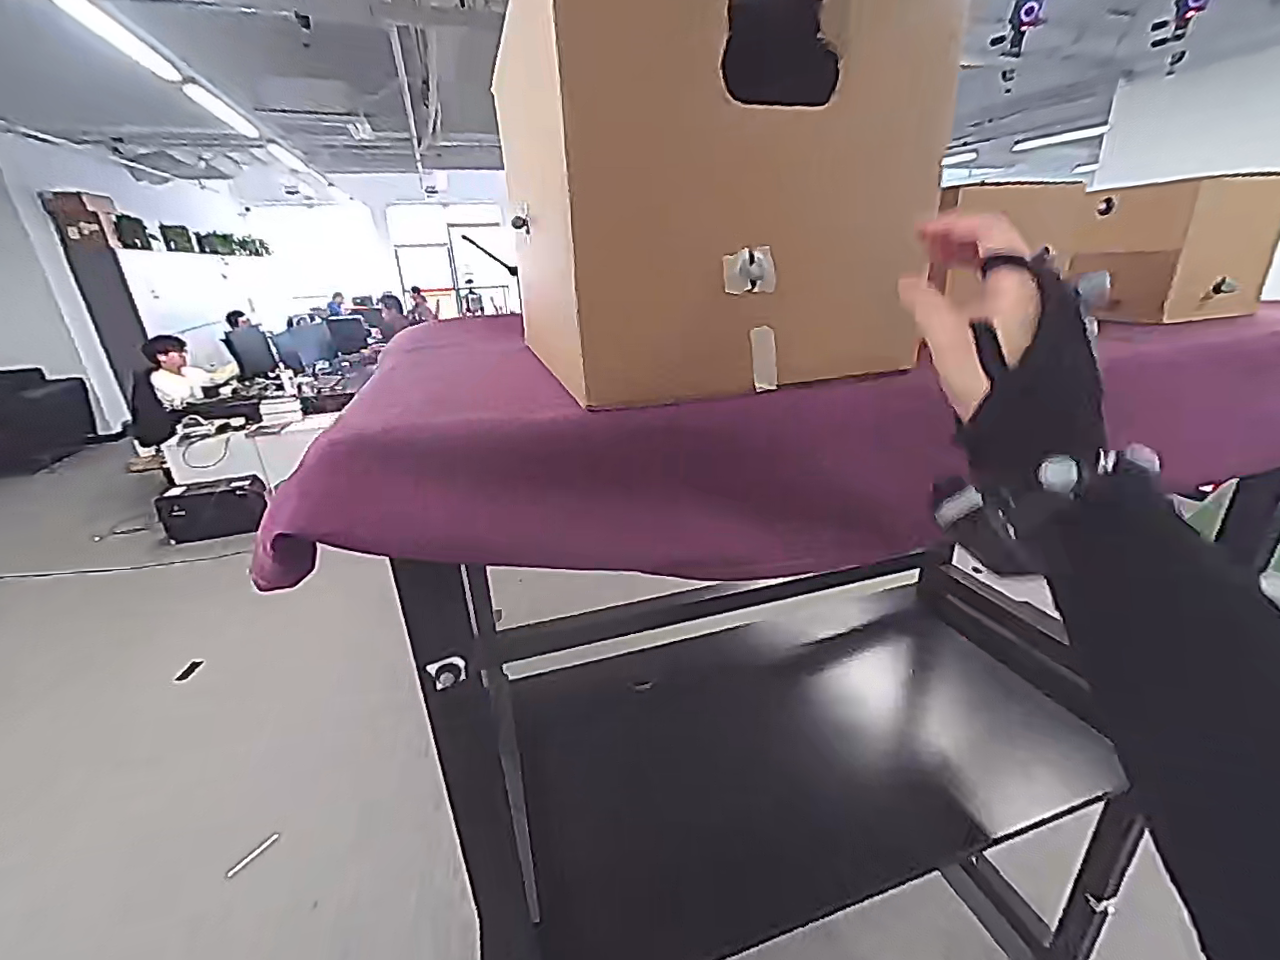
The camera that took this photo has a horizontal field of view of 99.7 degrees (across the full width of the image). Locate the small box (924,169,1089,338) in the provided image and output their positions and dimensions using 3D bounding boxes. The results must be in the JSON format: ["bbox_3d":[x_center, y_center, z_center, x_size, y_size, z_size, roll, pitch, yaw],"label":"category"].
[{"bbox_3d":[0.393,-0.277,0.673,0.179,0.176,0.168,-9,22,-13],"label":"small box"}]

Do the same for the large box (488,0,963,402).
[{"bbox_3d":[0.038,-0.283,0.559,0.320,0.320,0.408,-9,22,-16],"label":"large box"}]

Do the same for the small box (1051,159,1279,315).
[{"bbox_3d":[0.702,-0.320,0.728,0.179,0.176,0.168,-9,22,-13],"label":"small box"}]
